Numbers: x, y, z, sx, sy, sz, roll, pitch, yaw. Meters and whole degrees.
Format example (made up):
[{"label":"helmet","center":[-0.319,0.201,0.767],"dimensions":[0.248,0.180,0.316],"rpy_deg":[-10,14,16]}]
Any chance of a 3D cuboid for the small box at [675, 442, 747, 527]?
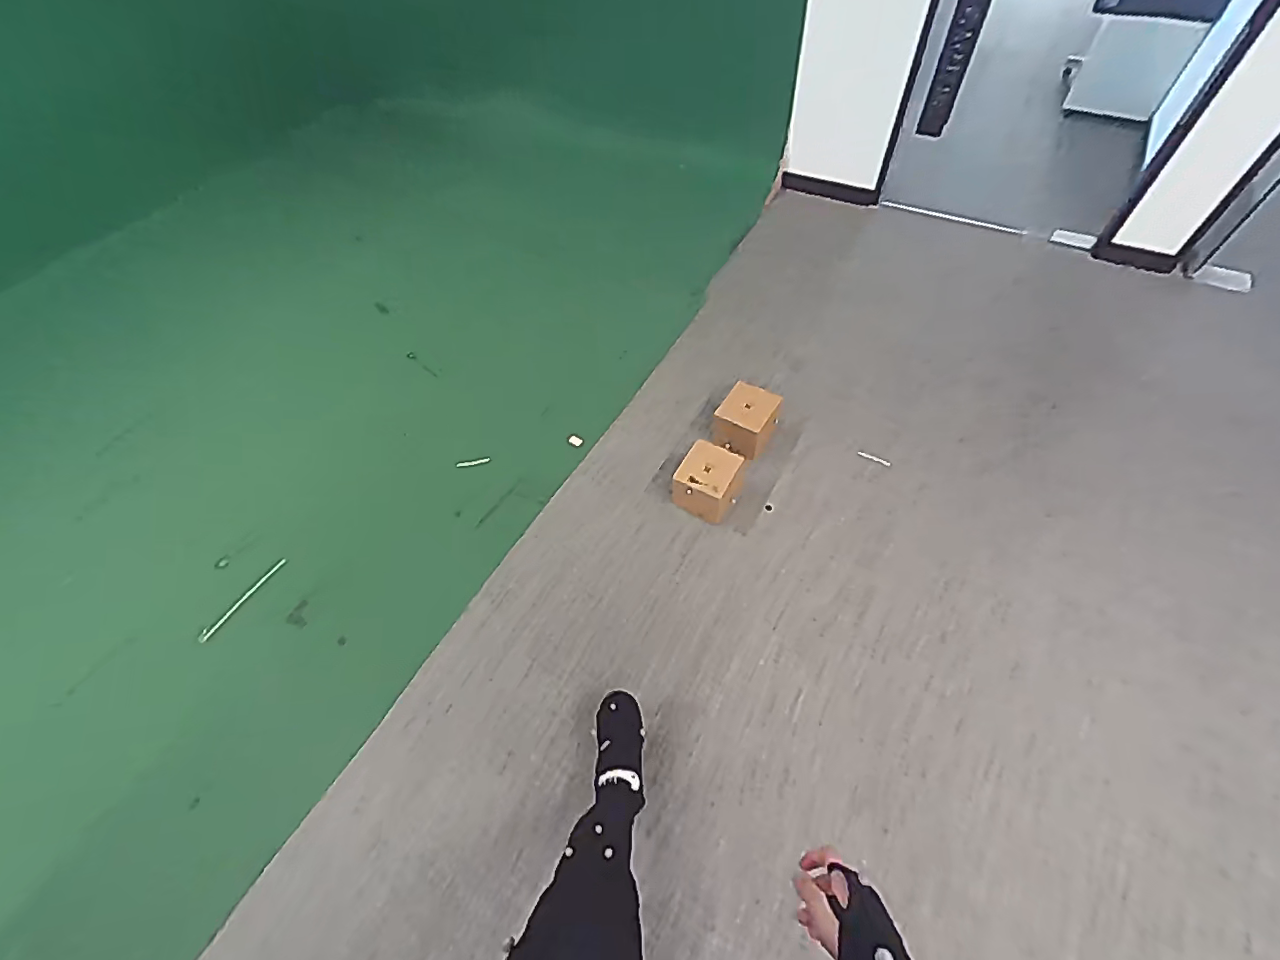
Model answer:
[{"label":"small box","center":[0.224,0.016,1.731],"dimensions":[0.168,0.176,0.179],"rpy_deg":[25,62,21]}]
